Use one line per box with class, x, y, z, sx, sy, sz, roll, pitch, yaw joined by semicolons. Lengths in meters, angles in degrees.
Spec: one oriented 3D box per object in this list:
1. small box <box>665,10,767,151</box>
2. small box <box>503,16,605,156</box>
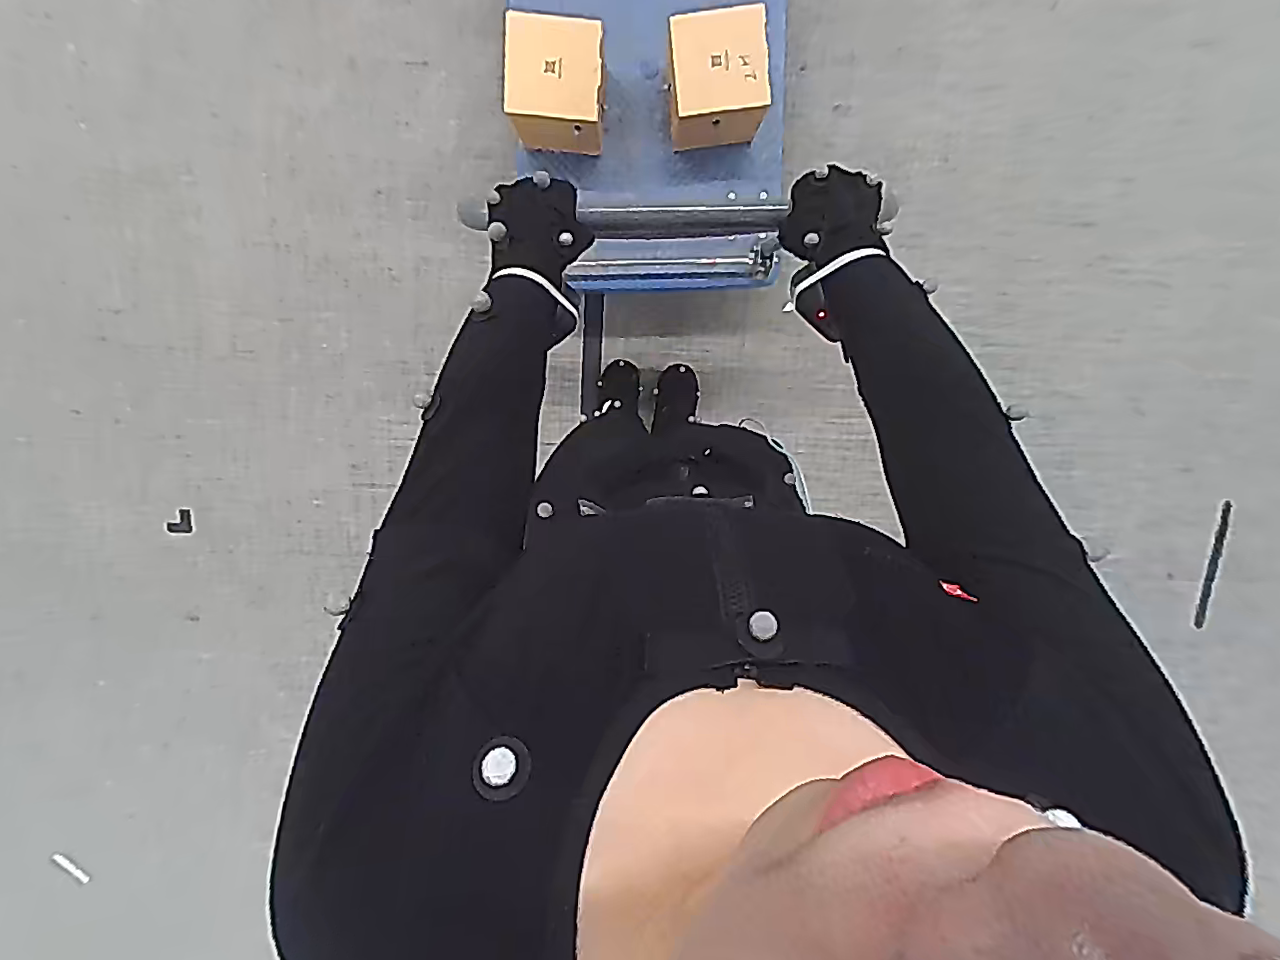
small box;0.142;-0.777;1.072;0.179;0.176;0.168;-7;102;1
small box;-0.164;-0.766;1.069;0.179;0.176;0.168;4;102;-3
